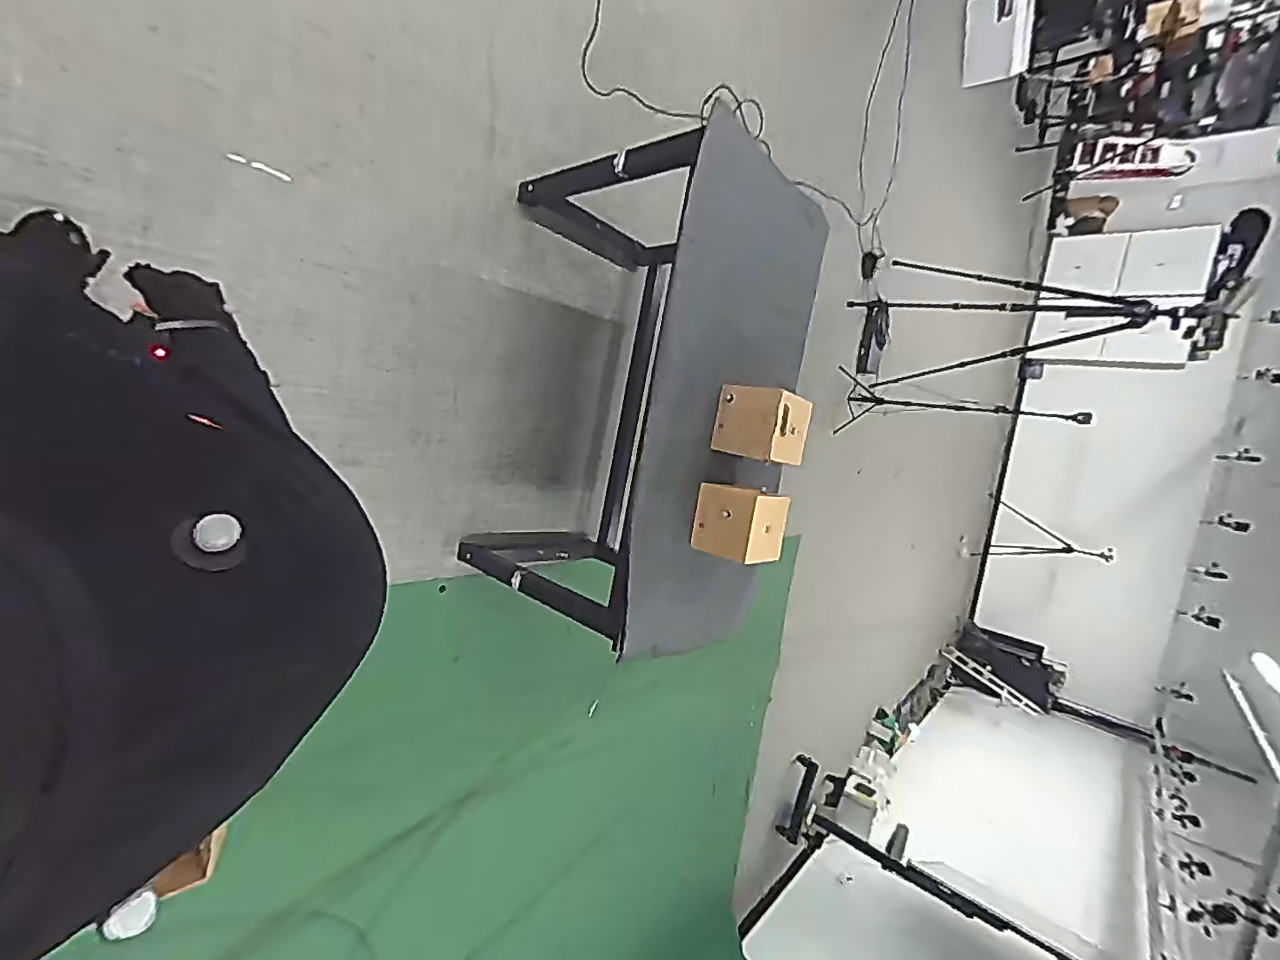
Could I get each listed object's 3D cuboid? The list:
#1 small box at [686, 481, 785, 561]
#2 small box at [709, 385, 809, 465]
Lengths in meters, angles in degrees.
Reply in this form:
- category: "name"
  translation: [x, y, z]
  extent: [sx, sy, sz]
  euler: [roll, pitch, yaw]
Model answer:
- category: "small box"
  translation: [0.239, 0.100, 1.372]
  extent: [0.179, 0.176, 0.168]
  euler: [4, 99, -50]
- category: "small box"
  translation: [0.297, -0.141, 1.359]
  extent: [0.179, 0.176, 0.168]
  euler: [7, 96, -50]
